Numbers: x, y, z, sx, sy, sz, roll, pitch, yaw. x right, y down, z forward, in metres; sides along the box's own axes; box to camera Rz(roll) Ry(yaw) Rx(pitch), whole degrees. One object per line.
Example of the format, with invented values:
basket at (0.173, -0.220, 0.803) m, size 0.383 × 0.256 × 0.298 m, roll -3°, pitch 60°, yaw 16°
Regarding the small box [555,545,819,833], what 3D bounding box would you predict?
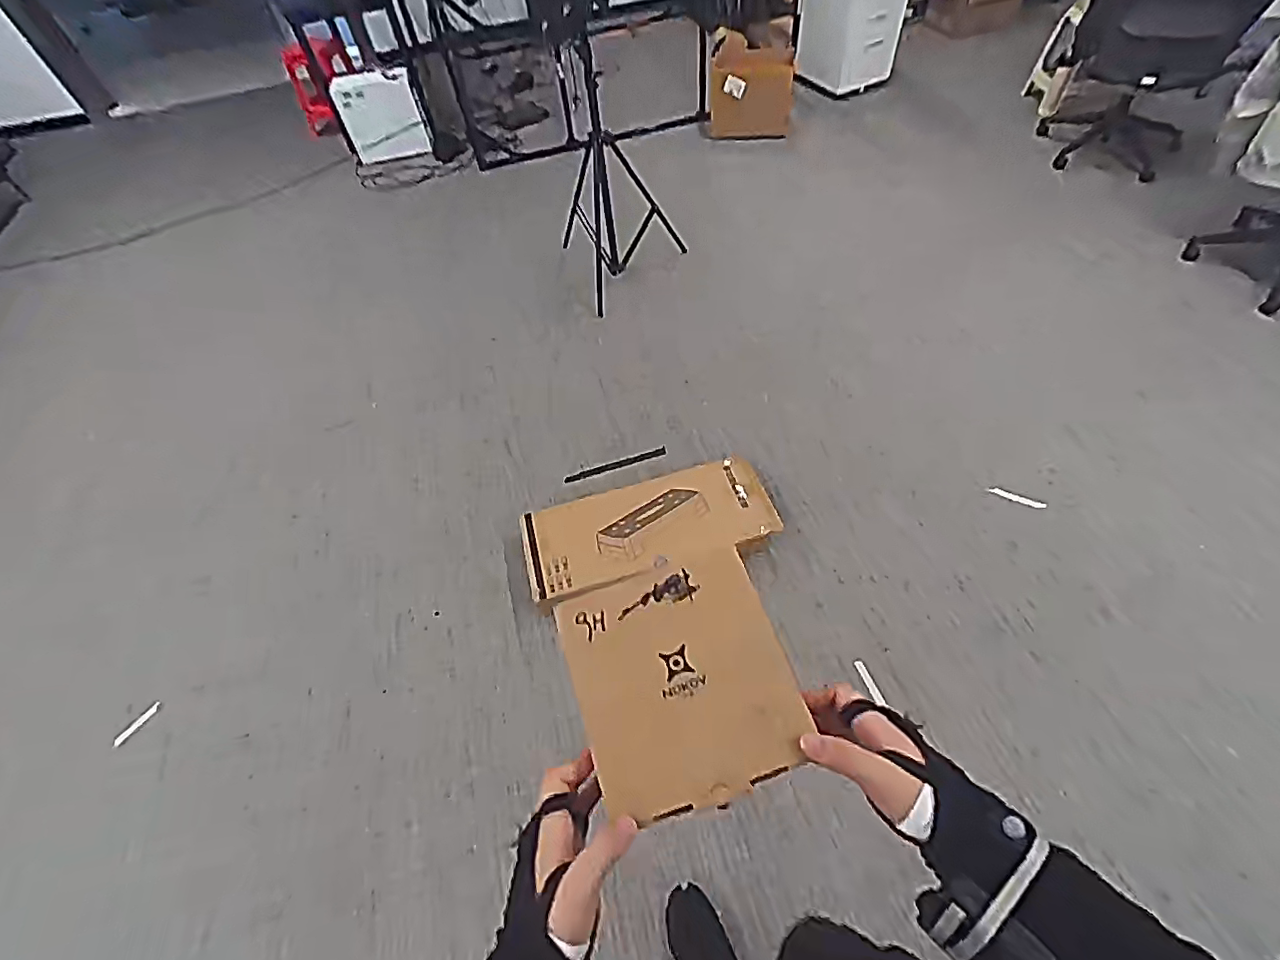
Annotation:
small box at (0.039, 0.185, 0.497) m, size 0.168 × 0.176 × 0.179 m, roll -19°, pitch 66°, yaw -3°
